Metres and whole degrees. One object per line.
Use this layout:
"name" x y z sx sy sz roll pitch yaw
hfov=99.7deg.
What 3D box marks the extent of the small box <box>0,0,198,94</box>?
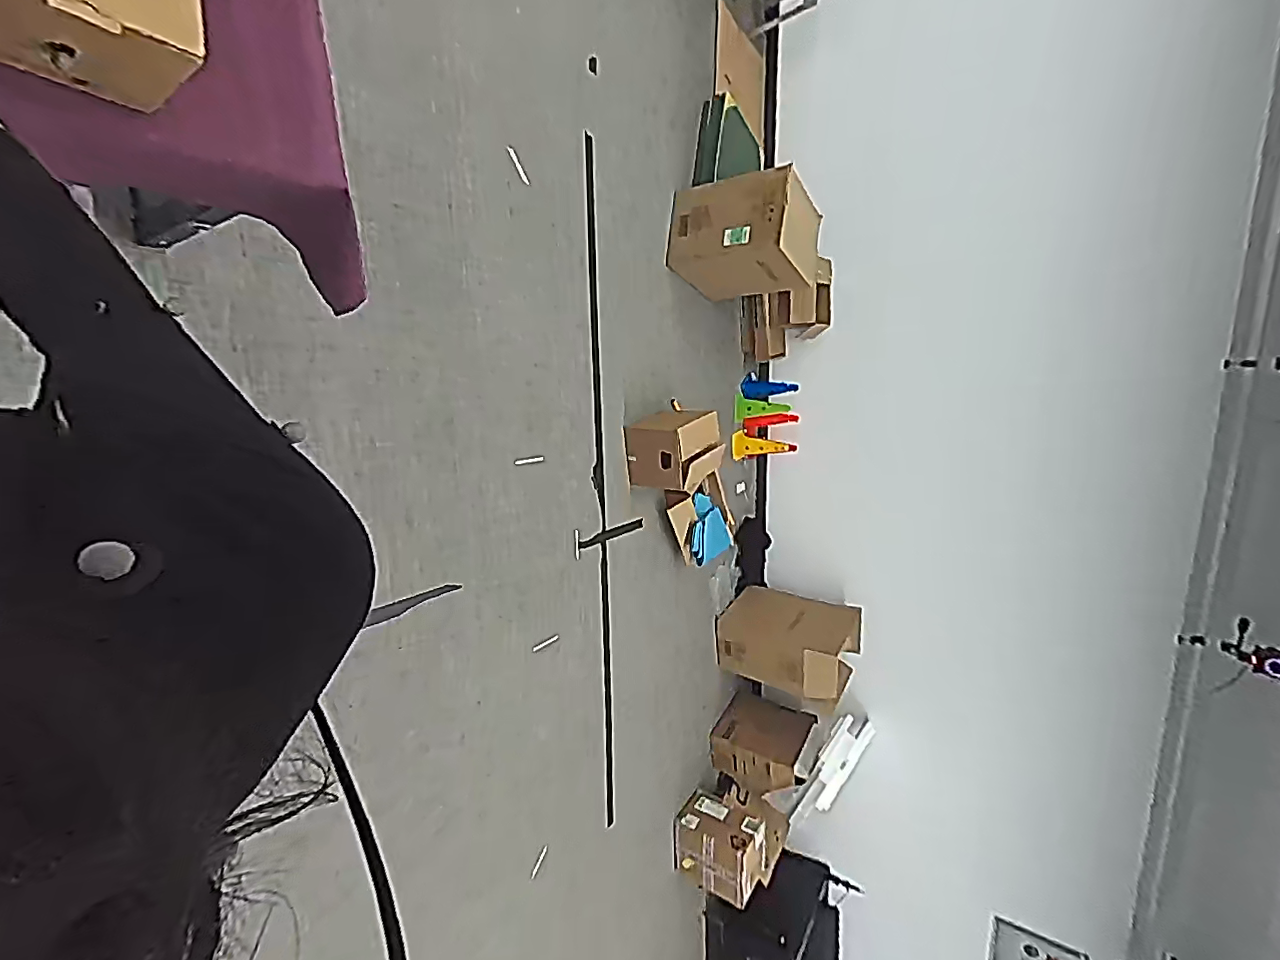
"small box" -0.526 -0.487 0.478 0.168 0.176 0.179 -10 104 -57
